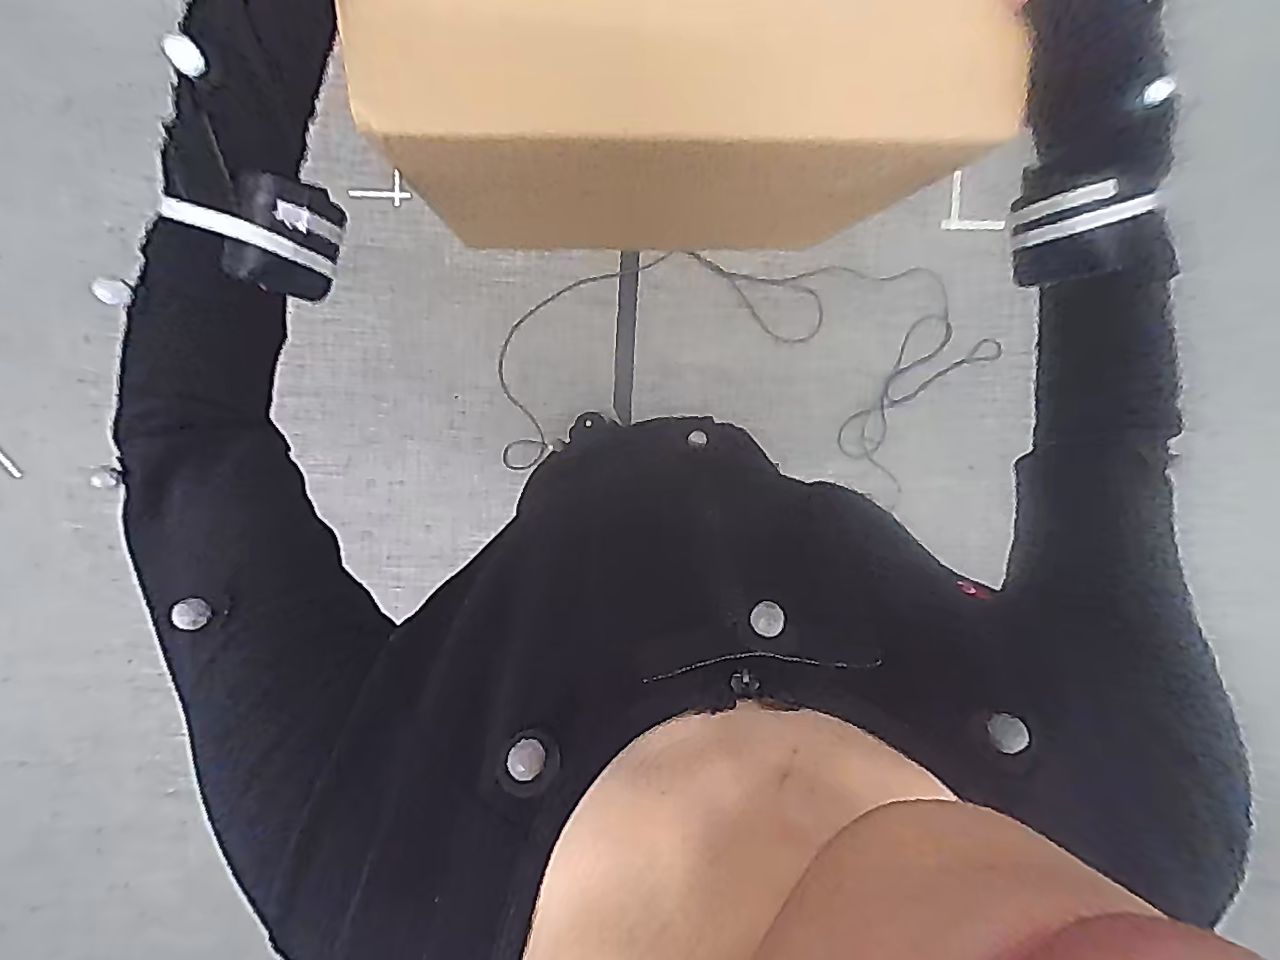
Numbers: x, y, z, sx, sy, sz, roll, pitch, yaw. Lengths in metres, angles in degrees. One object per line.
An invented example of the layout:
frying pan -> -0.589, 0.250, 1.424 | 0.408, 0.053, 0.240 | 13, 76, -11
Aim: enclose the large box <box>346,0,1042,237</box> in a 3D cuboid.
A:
large box -> 0.019, -0.396, 0.426 | 0.408, 0.320, 0.320 | -3, 102, -7
